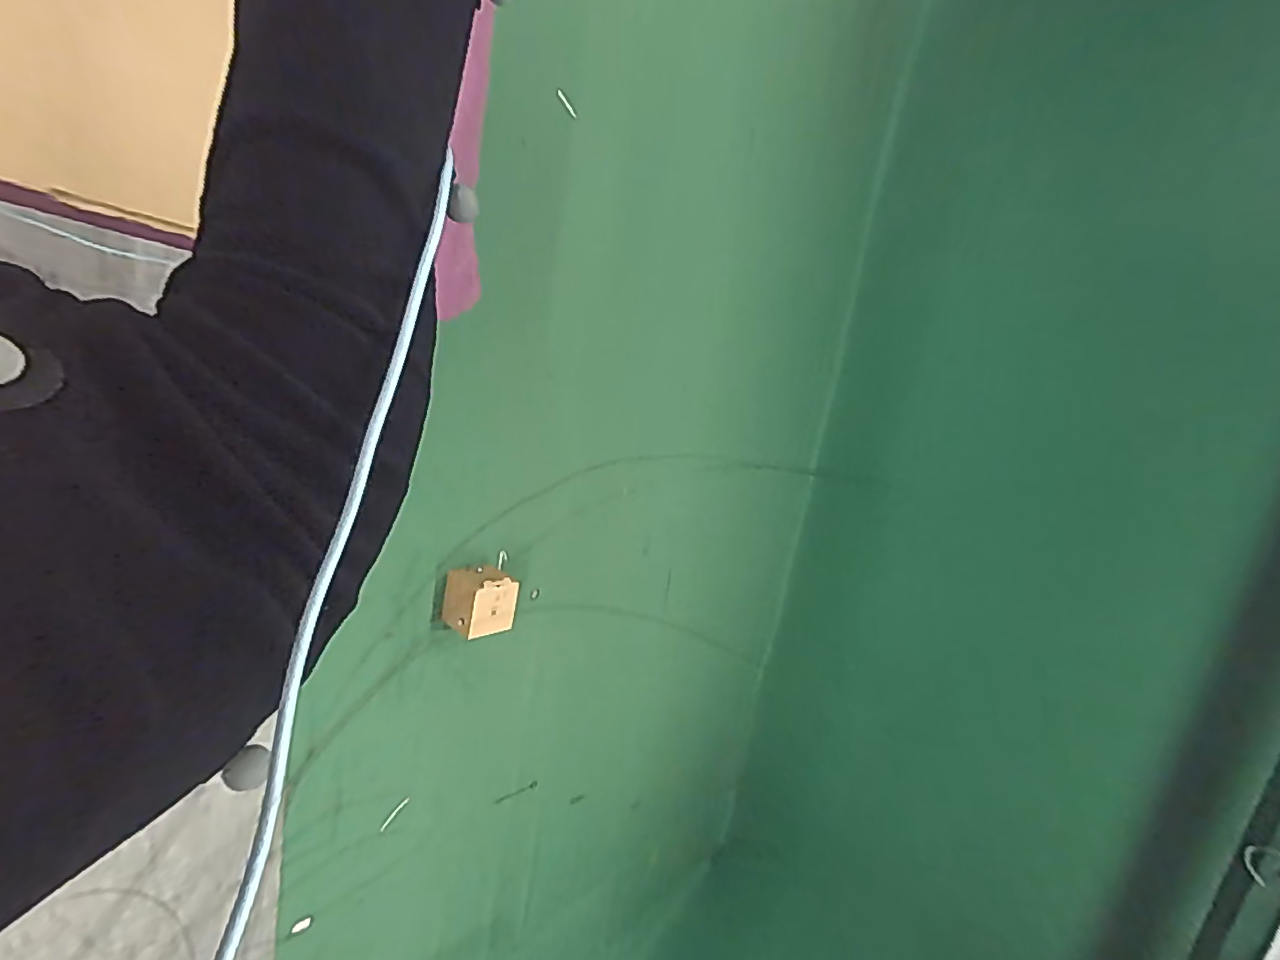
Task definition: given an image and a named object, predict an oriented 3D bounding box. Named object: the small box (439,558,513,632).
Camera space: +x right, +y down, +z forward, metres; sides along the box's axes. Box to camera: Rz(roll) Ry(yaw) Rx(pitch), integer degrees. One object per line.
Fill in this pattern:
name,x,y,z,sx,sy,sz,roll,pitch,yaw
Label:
small box,-0.551,0.378,1.800,0.168,0.176,0.179,-1,106,-50
